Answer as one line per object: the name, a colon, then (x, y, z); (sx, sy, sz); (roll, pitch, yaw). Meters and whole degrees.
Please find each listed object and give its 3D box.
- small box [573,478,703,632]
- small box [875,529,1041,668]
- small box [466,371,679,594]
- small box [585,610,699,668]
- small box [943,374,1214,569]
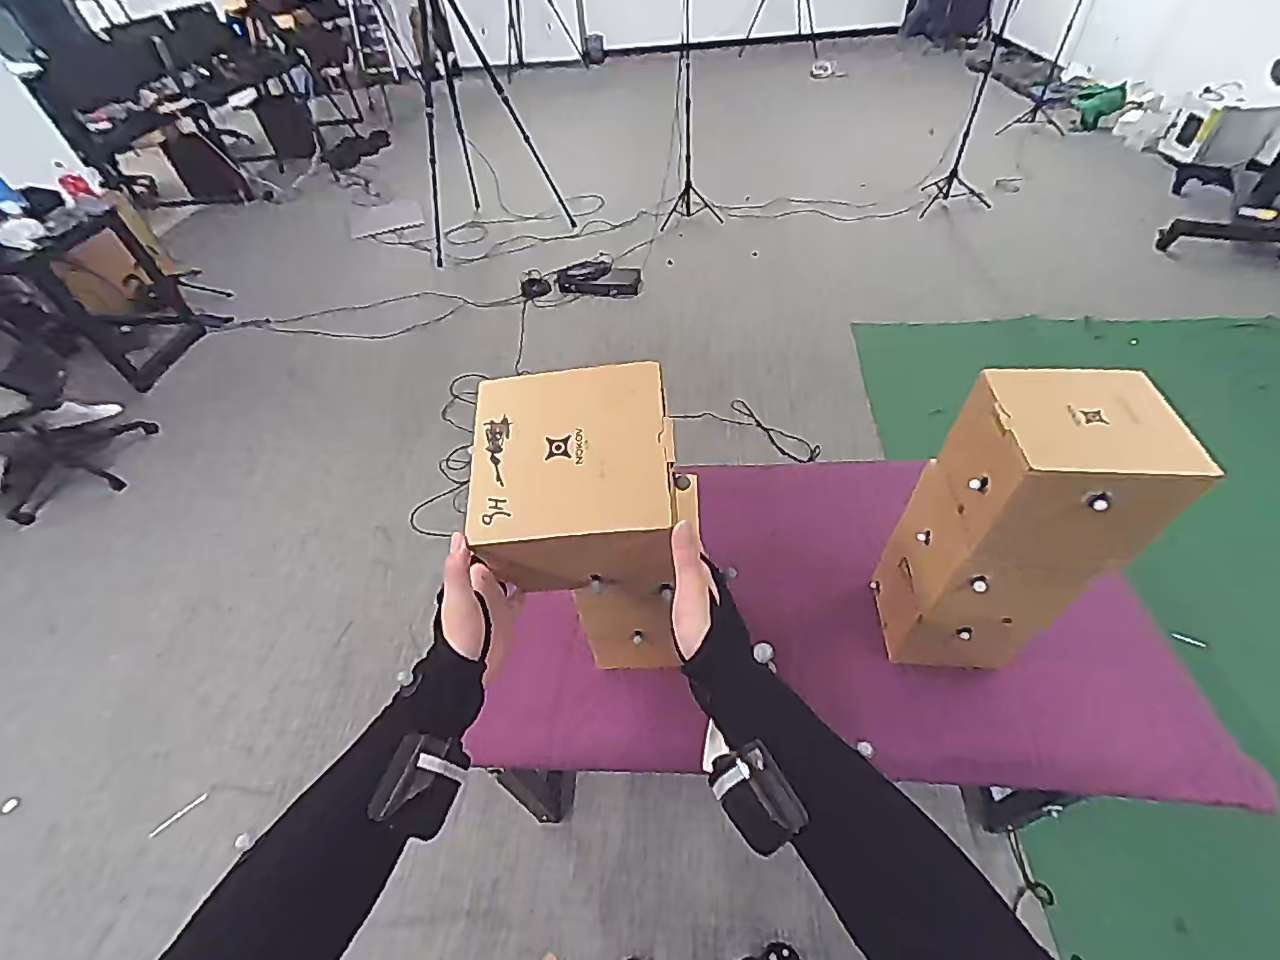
small box: (0.000, 0.112, 0.799); (0.179, 0.176, 0.168); (-1, 47, 4)
small box: (0.506, 0.198, 0.897); (0.179, 0.176, 0.168); (2, 48, 6)
small box: (-0.053, 0.012, 0.543); (0.179, 0.176, 0.168); (-4, 63, 3)
small box: (0.009, 0.211, 0.931); (0.179, 0.176, 0.168); (-2, 48, 4)
small box: (0.485, -0.008, 0.643); (0.179, 0.176, 0.168); (3, 49, 8)
